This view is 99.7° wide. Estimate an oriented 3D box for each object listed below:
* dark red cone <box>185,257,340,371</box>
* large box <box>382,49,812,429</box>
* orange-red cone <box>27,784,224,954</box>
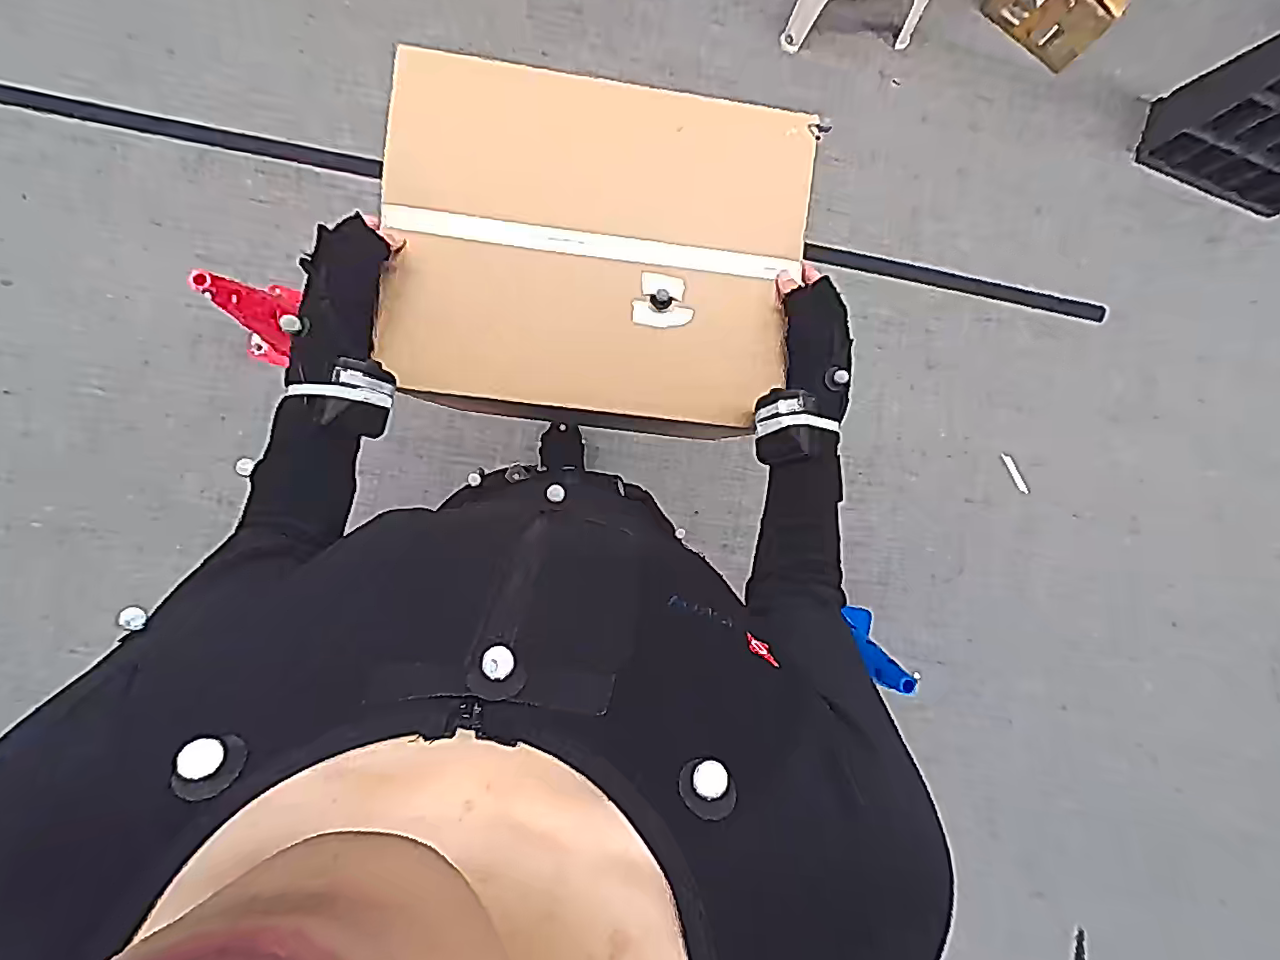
[{"bbox_3d":[-0.859,-0.394,1.204,0.201,0.394,0.202,15,88,-6],"label":"dark red cone"},{"bbox_3d":[-0.052,-0.242,0.676,0.408,0.320,0.320,6,93,-6],"label":"large box"},{"bbox_3d":[-1.146,0.875,1.191,0.198,0.360,0.199,7,90,-4],"label":"orange-red cone"}]
